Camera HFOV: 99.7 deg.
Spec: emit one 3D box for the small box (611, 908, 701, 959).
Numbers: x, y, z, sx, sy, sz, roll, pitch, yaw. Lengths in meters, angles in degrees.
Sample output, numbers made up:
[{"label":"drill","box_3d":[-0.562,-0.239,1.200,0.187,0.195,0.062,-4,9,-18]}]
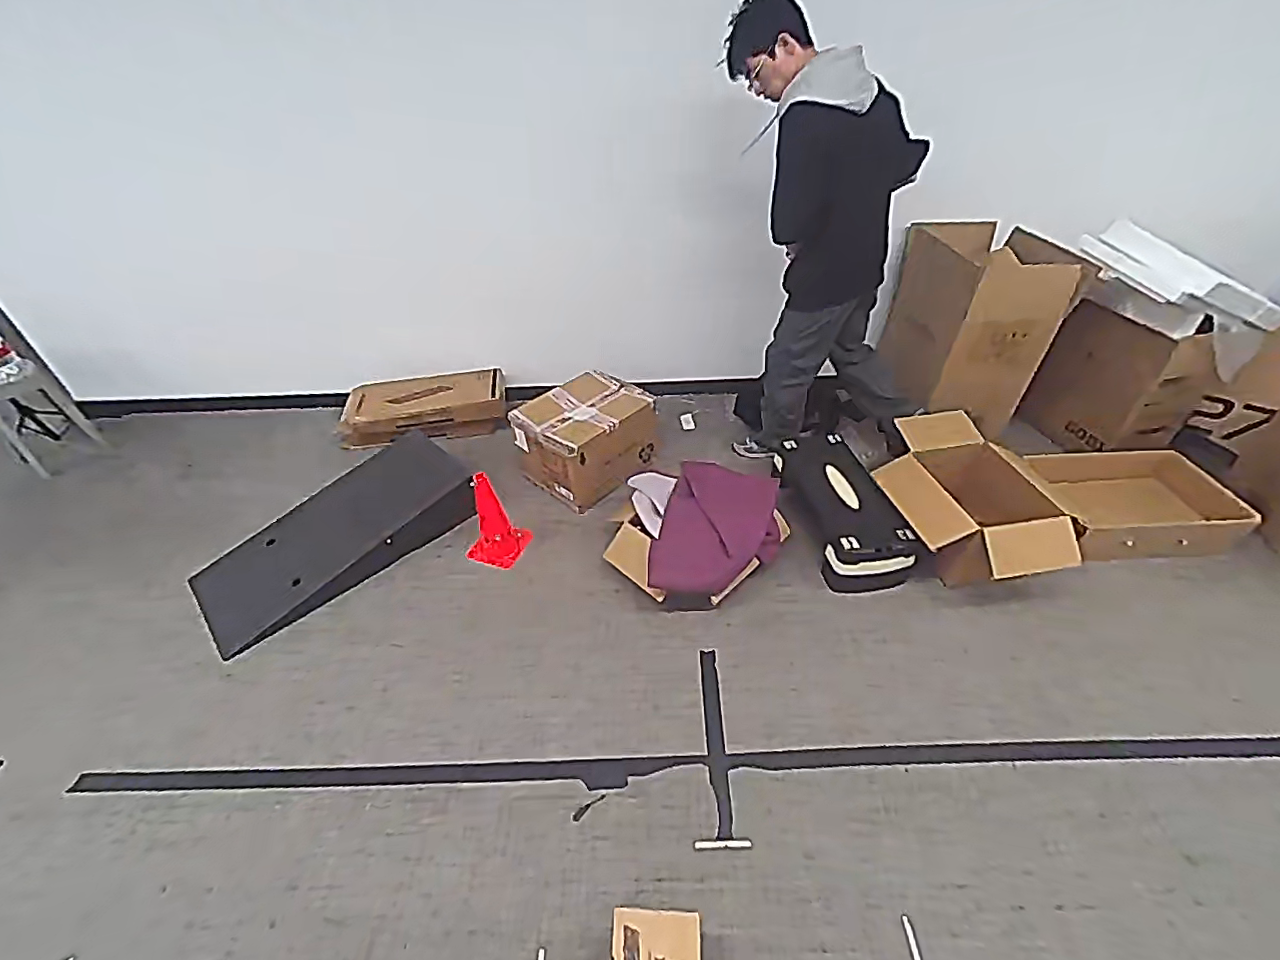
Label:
[{"label":"small box","box_3d":[0.033,0.984,1.079,0.179,0.176,0.168,1,40,4]}]
